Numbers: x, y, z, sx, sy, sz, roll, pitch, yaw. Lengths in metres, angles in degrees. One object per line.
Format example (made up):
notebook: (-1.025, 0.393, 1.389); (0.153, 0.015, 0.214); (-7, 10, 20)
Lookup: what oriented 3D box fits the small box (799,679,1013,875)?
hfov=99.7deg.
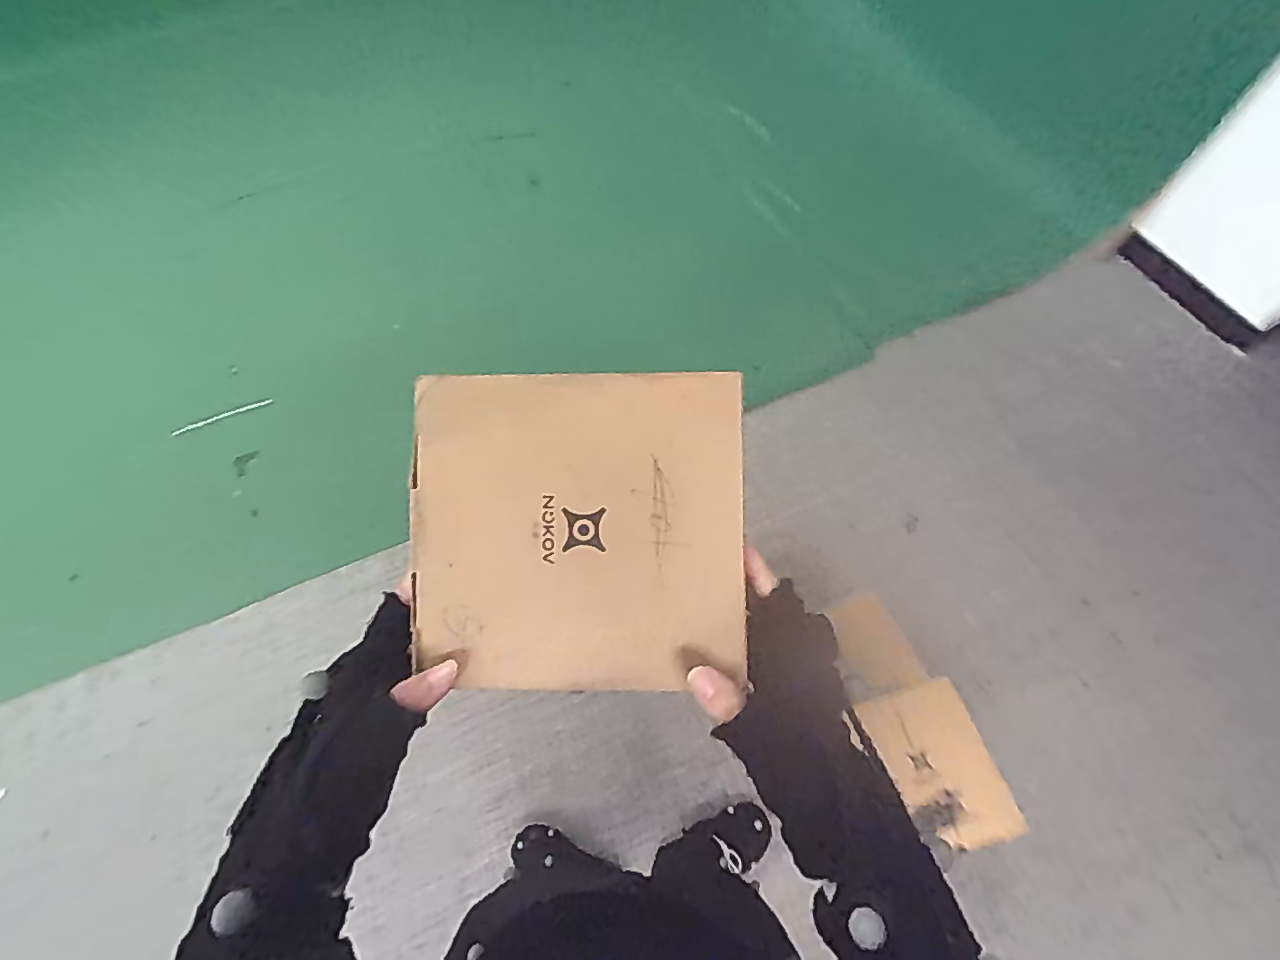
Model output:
small box: (0.331, 0.380, 0.716); (0.168, 0.176, 0.179); (-16, 64, -3)
